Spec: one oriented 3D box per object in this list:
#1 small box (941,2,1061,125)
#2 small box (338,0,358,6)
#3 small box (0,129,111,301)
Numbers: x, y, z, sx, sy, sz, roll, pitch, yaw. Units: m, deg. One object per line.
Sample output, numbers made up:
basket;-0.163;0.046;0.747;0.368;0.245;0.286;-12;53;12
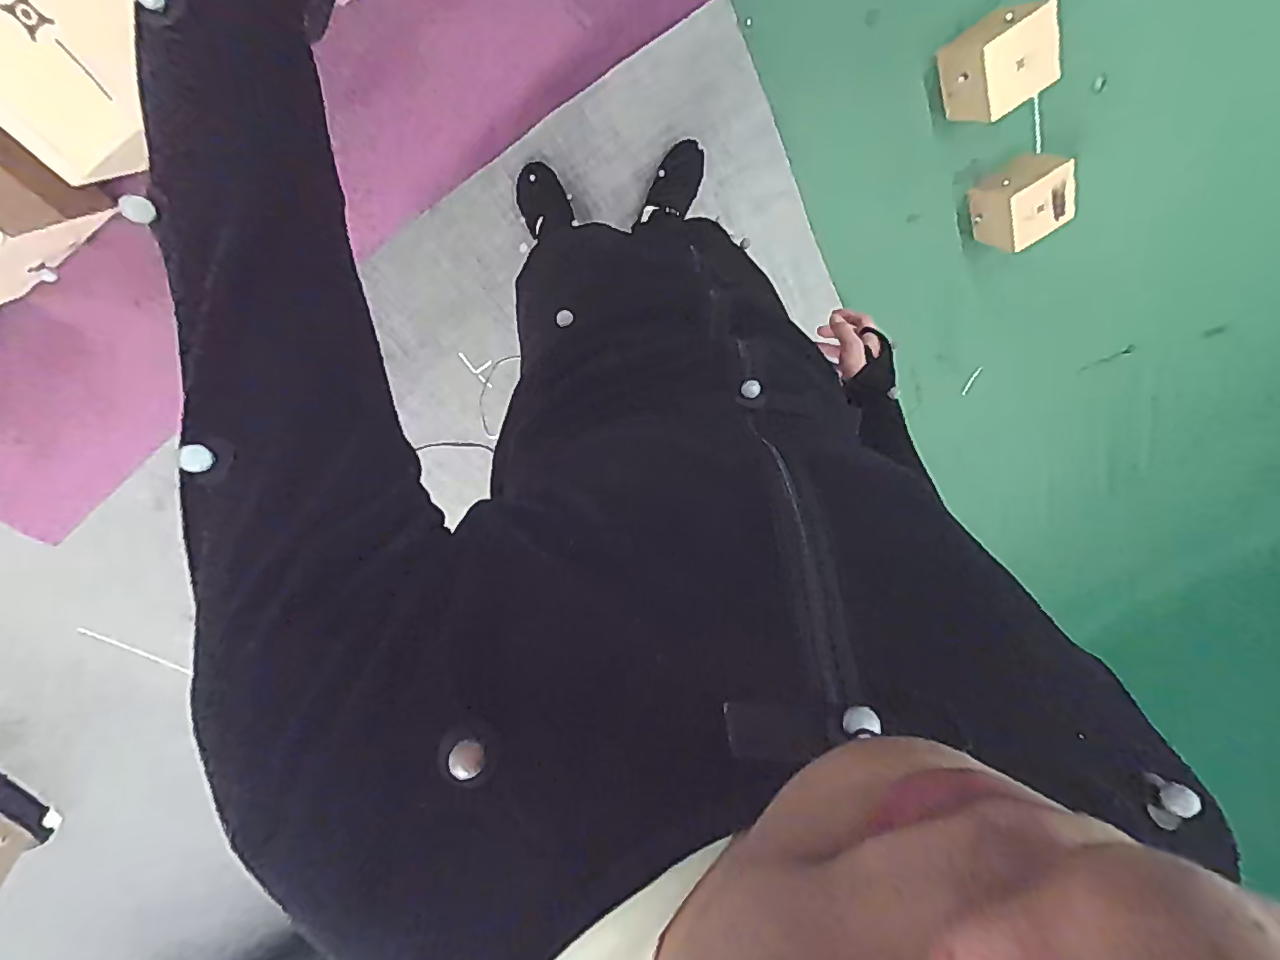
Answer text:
small box;0.852;-0.982;1.291;0.179;0.176;0.168;-33;126;8
small box;-0.255;-0.514;0.409;0.168;0.176;0.179;-31;126;8
small box;-0.655;-0.257;0.480;0.168;0.176;0.179;-33;126;9
